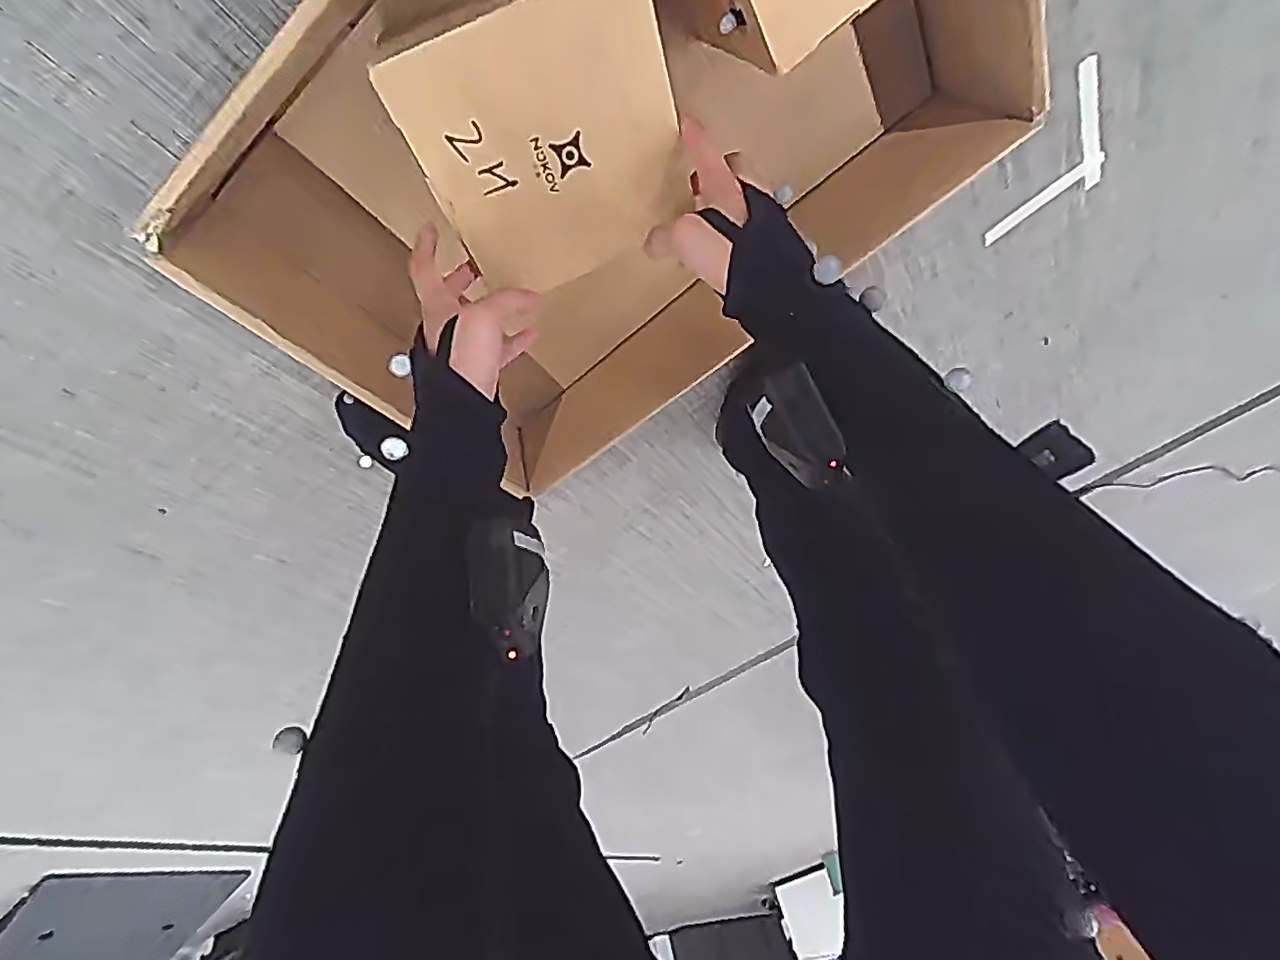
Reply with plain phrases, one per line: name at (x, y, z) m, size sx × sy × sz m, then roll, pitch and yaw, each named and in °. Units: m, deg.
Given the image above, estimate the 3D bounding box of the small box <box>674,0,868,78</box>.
small box at (0.086, -0.412, 0.343) m, size 0.168 × 0.176 × 0.179 m, roll -34°, pitch 137°, yaw 16°

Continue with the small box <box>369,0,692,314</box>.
small box at (-0.082, -0.270, 0.424) m, size 0.179 × 0.176 × 0.168 m, roll -24°, pitch 137°, yaw 2°
